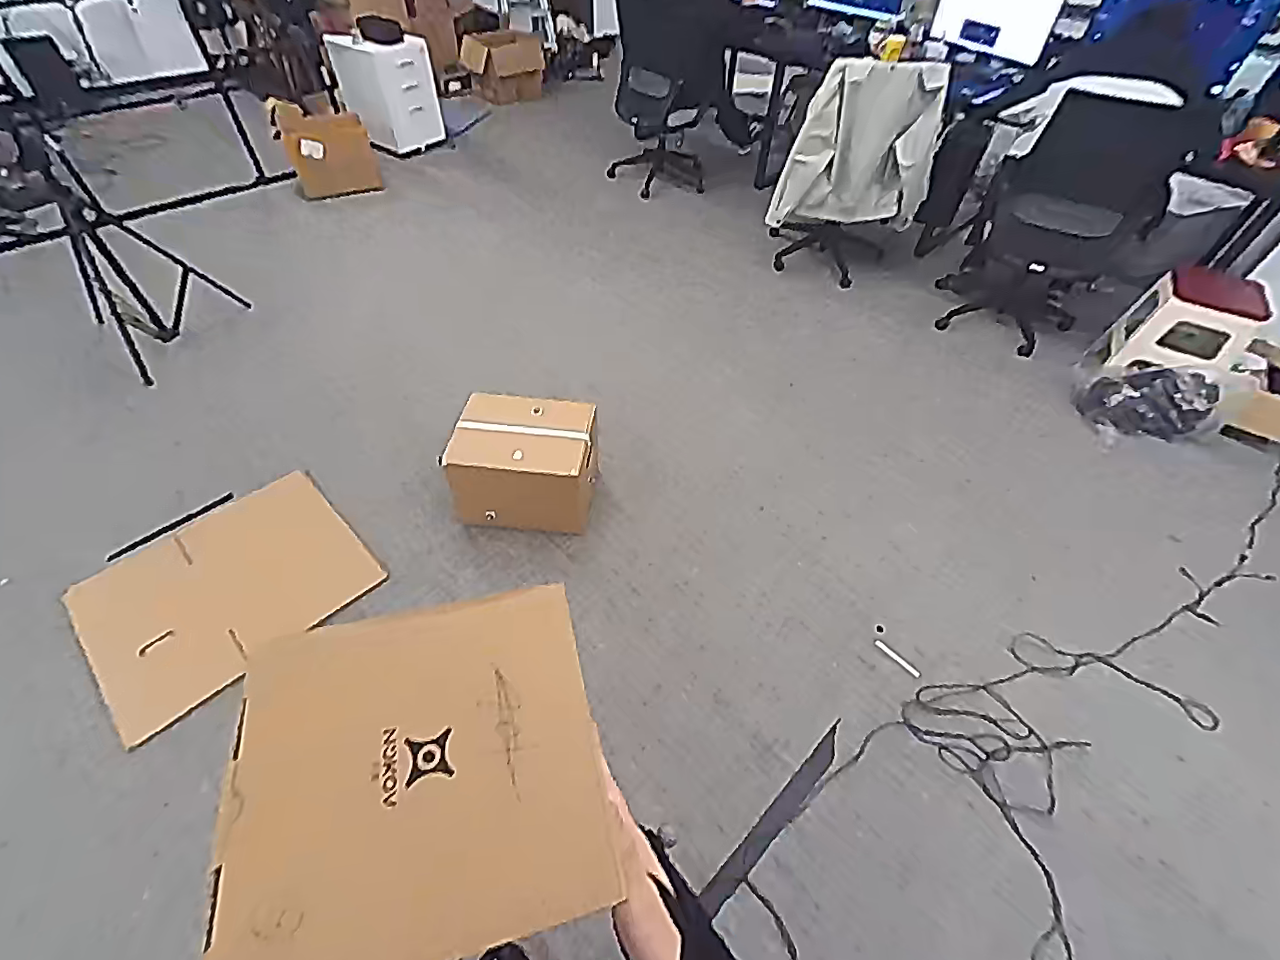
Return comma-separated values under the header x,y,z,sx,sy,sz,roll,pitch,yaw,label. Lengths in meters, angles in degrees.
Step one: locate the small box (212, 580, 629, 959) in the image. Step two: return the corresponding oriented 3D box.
x,y,z,sx,sy,sz,roll,pitch,yaw,label
-0.114,0.188,0.335,0.179,0.176,0.168,-9,55,-14,small box
